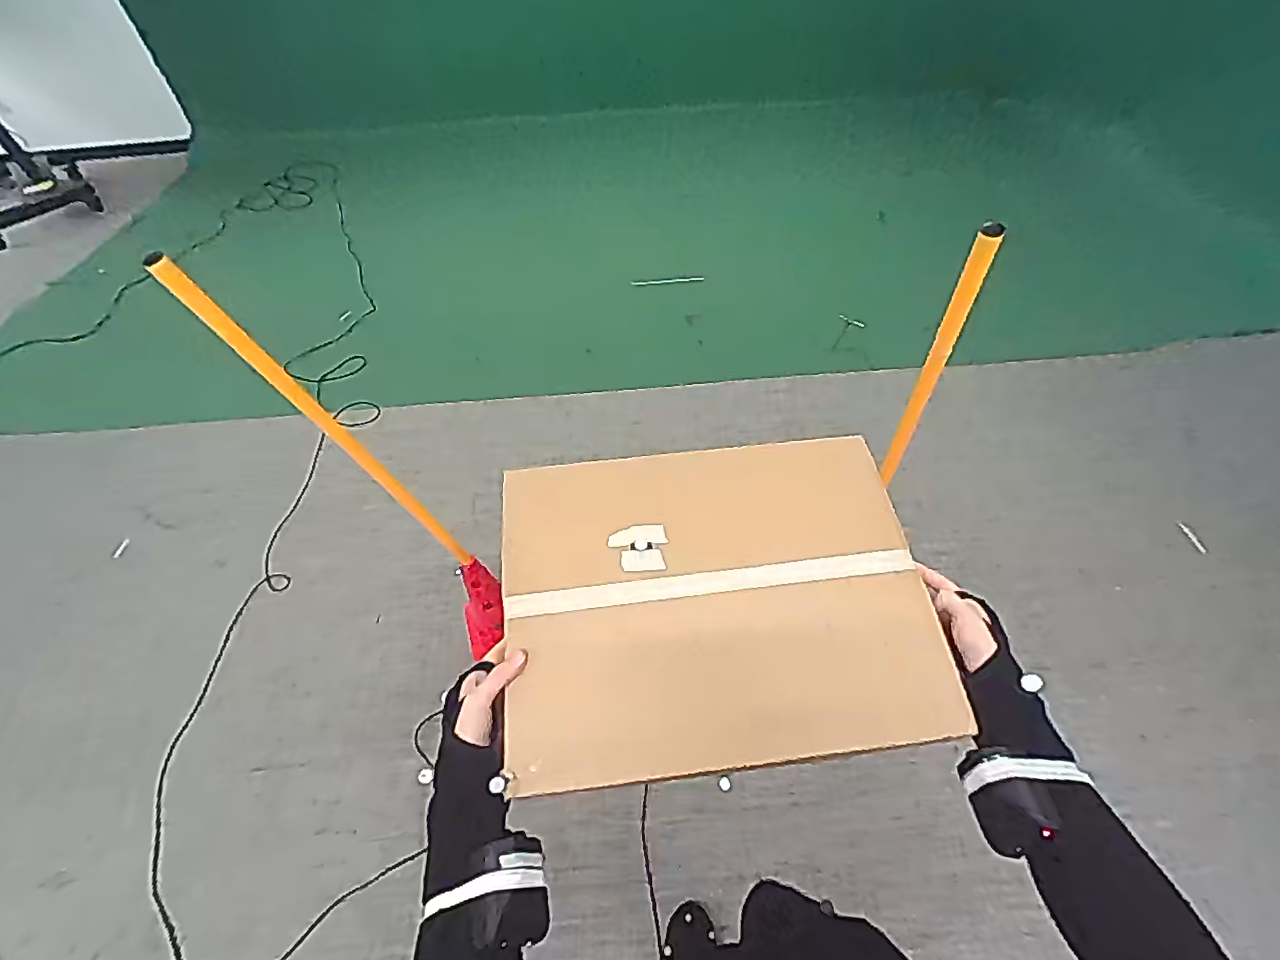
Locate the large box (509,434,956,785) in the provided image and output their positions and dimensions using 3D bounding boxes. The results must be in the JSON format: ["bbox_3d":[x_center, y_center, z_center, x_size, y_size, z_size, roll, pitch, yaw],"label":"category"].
[{"bbox_3d":[0.074,0.175,0.674,0.408,0.320,0.320,-7,60,-2],"label":"large box"}]
